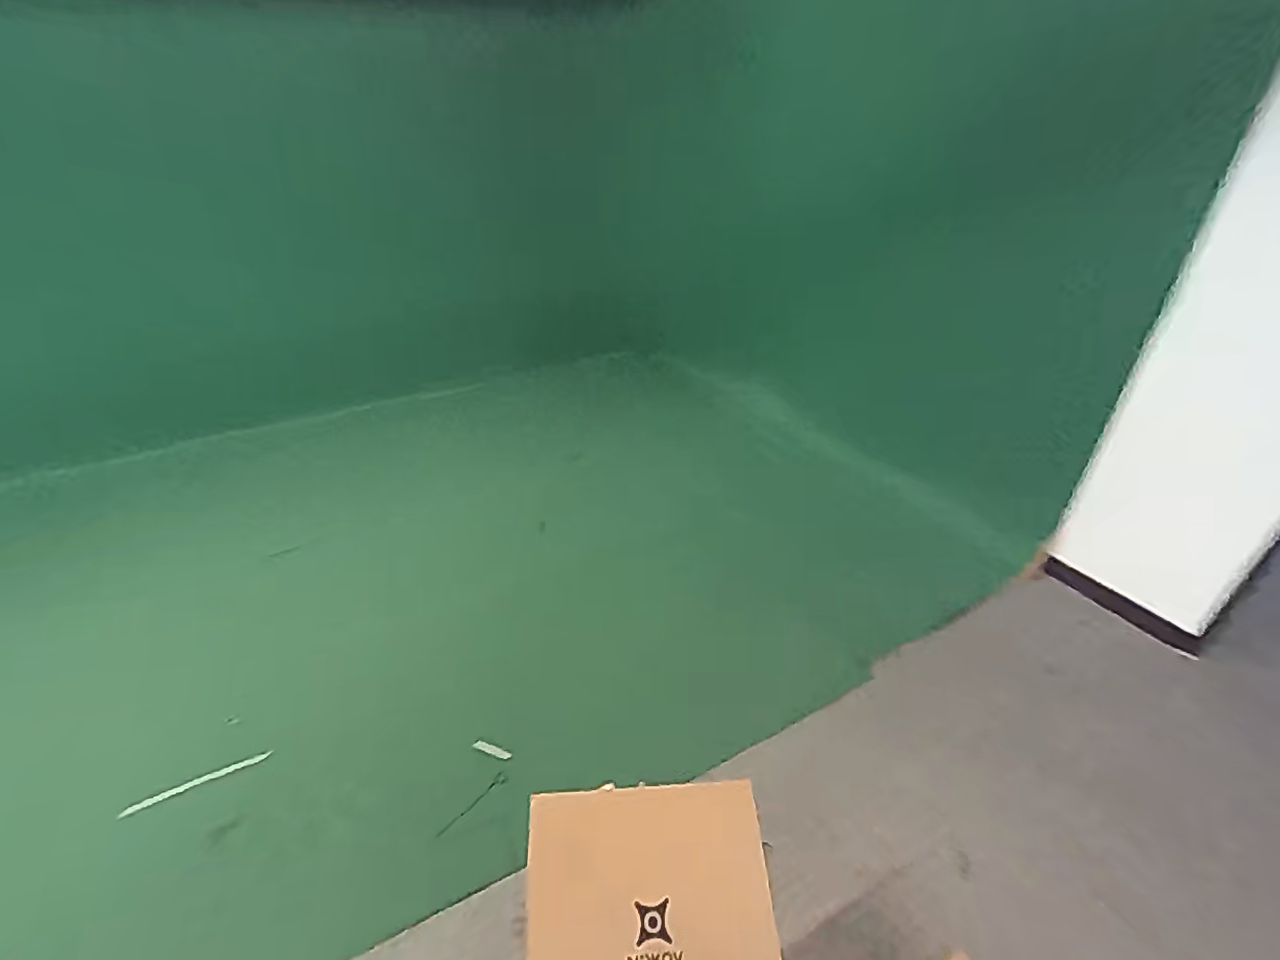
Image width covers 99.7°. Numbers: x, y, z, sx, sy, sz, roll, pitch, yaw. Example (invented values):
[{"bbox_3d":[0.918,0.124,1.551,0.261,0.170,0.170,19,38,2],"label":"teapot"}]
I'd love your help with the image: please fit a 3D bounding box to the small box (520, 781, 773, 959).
[{"bbox_3d":[-0.001,0.347,0.413,0.168,0.176,0.179,-2,53,-5],"label":"small box"}]
